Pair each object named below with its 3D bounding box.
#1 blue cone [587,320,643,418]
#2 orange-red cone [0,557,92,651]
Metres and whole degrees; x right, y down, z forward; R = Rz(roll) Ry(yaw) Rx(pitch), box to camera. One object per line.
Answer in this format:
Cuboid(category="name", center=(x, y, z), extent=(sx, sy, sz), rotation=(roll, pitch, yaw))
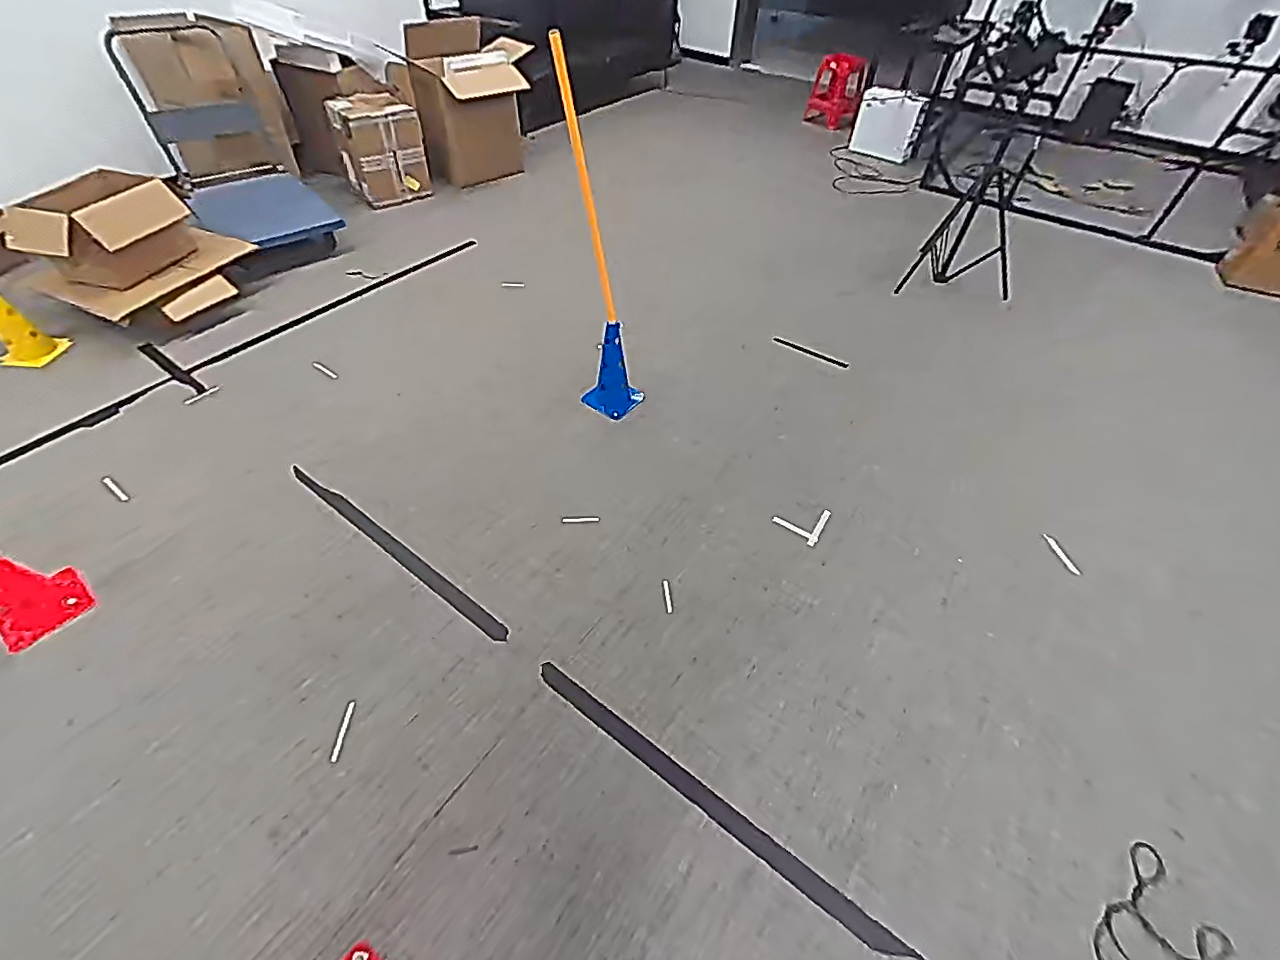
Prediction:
Cuboid(category="blue cone", center=(-0.099, -0.447, 2.089), extent=(0.192, 0.380, 0.193), rotation=(33, 55, 23))
Cuboid(category="orange-red cone", center=(-1.657, 0.241, 1.374), extent=(0.199, 0.360, 0.198), rotation=(32, 54, 24))
